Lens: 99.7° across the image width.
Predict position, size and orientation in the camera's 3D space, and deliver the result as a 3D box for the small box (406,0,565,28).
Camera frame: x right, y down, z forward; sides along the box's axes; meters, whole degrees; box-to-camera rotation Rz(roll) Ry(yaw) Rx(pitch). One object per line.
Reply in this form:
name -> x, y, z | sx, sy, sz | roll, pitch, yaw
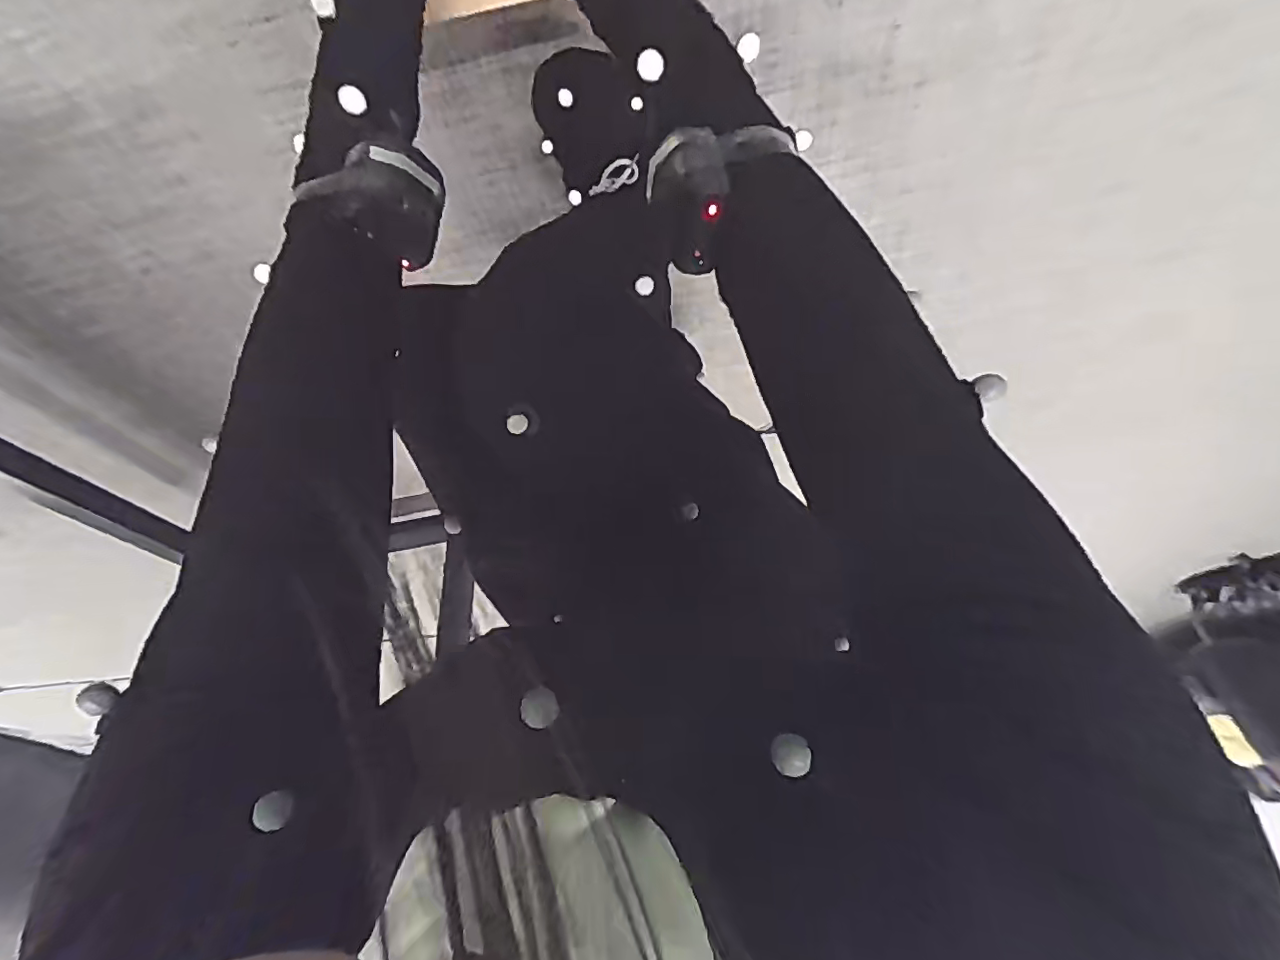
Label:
small box -> -0.109, -0.470, 0.380 | 0.168, 0.176, 0.179 | -7, 148, 5
